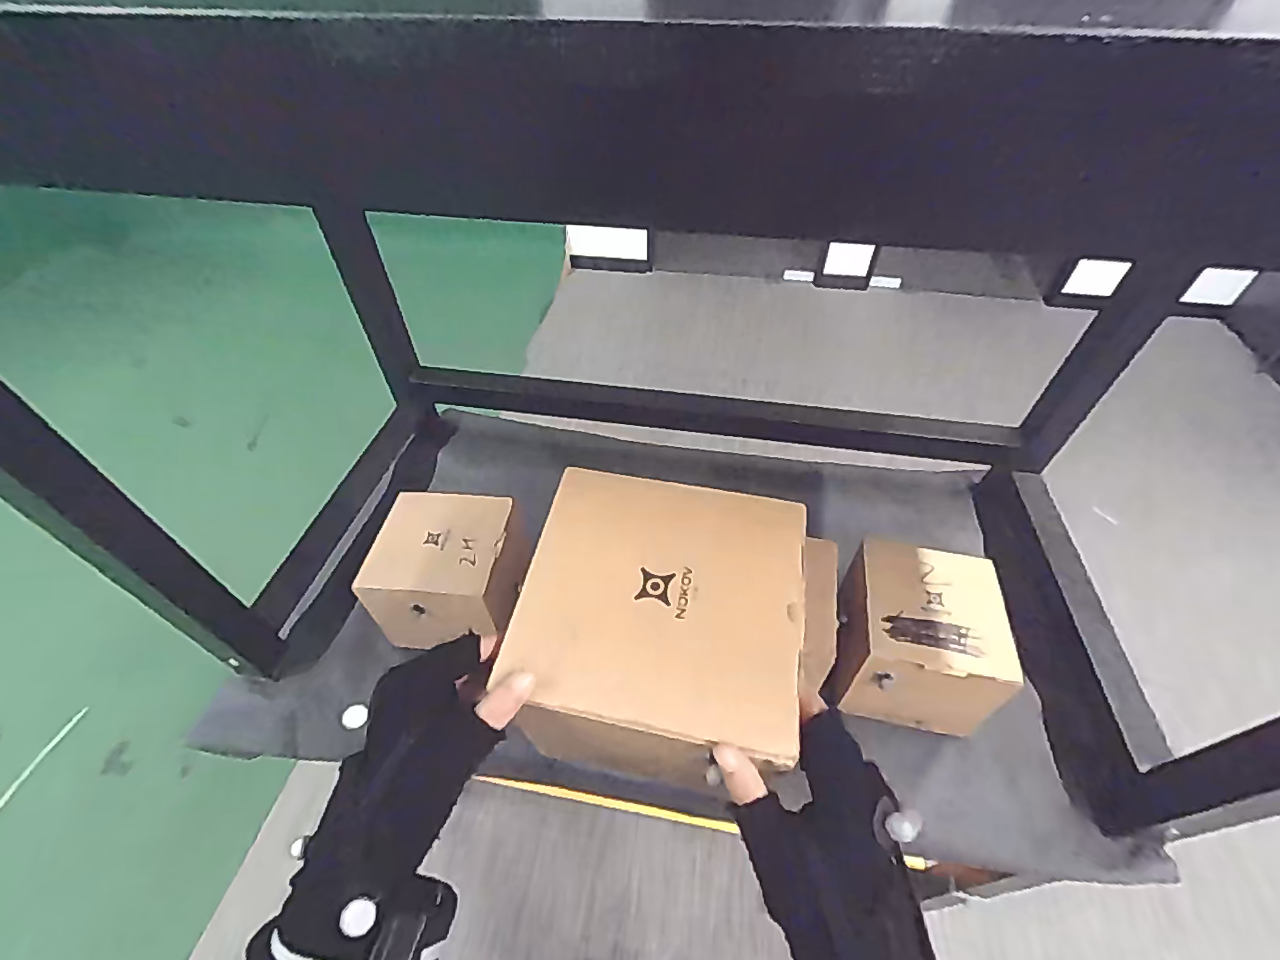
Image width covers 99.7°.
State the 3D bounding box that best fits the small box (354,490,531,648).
[{"bbox_3d":[-0.275,0.134,0.800,0.179,0.176,0.168,4,48,4],"label":"small box"}]
